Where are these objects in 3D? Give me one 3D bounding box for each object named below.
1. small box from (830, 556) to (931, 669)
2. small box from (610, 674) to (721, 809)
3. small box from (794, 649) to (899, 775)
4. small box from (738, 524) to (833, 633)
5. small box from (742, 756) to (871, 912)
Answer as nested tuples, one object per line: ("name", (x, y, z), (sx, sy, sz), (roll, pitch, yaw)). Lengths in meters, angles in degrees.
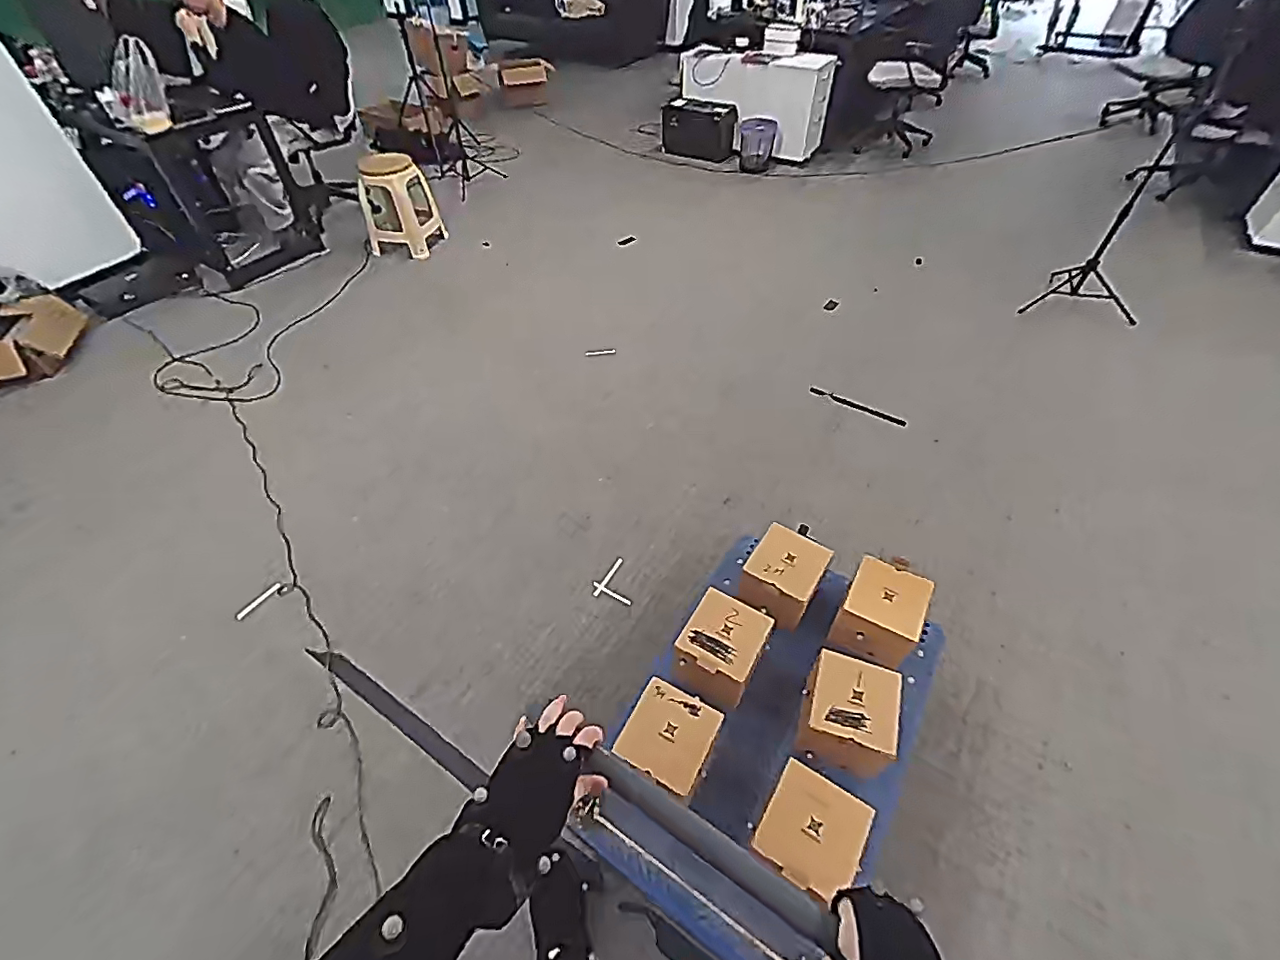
("small box", (0.578, 0.326, 1.317), (0.168, 0.176, 0.179), (24, 53, 21))
("small box", (0.055, 0.550, 1.129), (0.168, 0.176, 0.179), (24, 53, 20))
("small box", (0.439, 0.502, 1.163), (0.168, 0.176, 0.179), (16, 50, 15))
("small box", (0.364, 0.253, 1.384), (0.168, 0.176, 0.179), (28, 55, 24))
("small box", (0.305, 0.669, 1.018), (0.168, 0.176, 0.179), (27, 53, 23))
